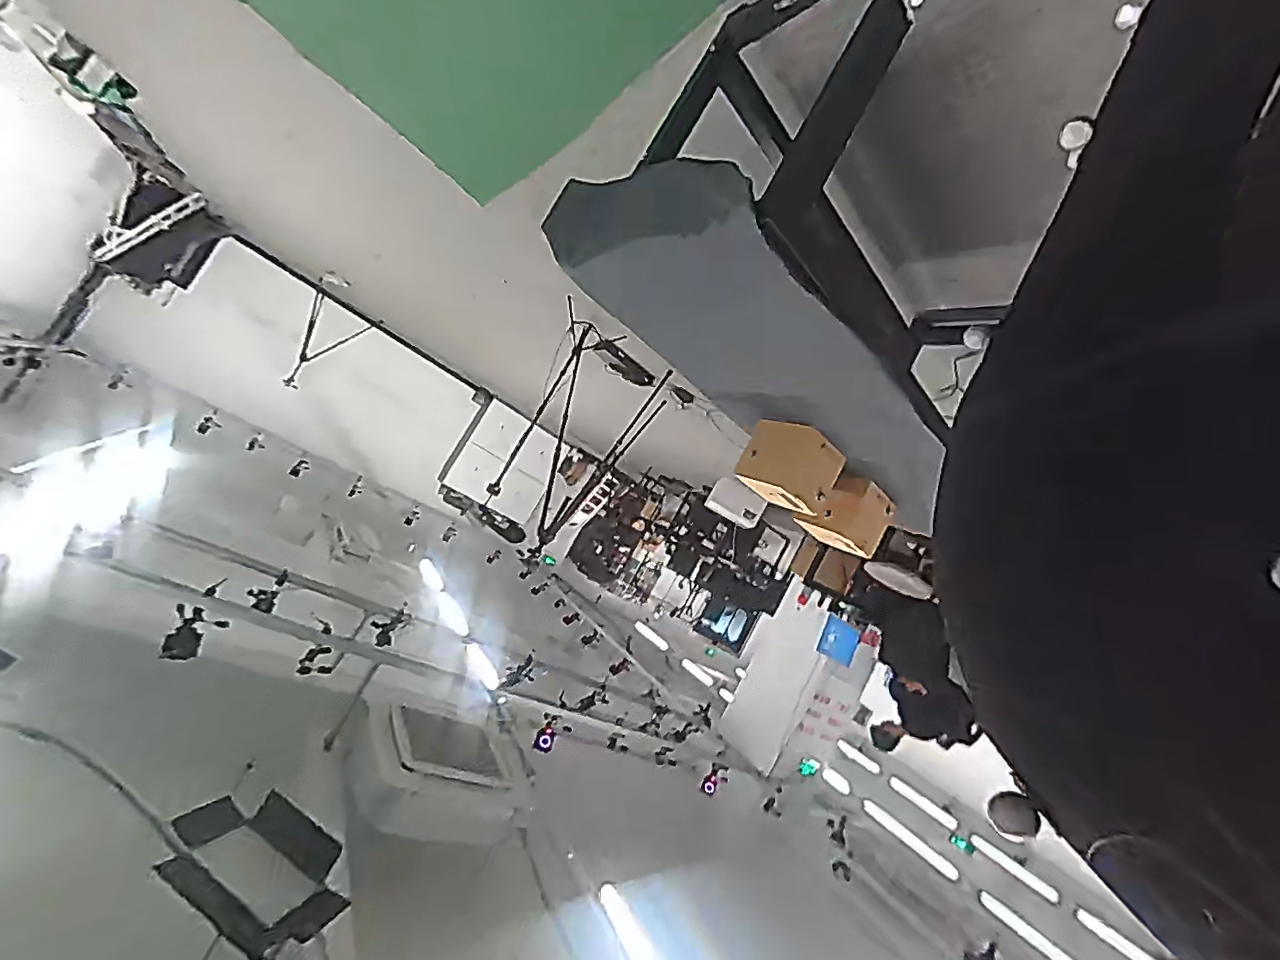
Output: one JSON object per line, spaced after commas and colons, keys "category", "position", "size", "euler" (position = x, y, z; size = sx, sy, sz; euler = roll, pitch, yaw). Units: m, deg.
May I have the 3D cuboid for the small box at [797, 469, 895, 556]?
{"category": "small box", "position": [0.580, 0.084, 1.505], "size": [0.168, 0.176, 0.179], "euler": [34, 173, -35]}
